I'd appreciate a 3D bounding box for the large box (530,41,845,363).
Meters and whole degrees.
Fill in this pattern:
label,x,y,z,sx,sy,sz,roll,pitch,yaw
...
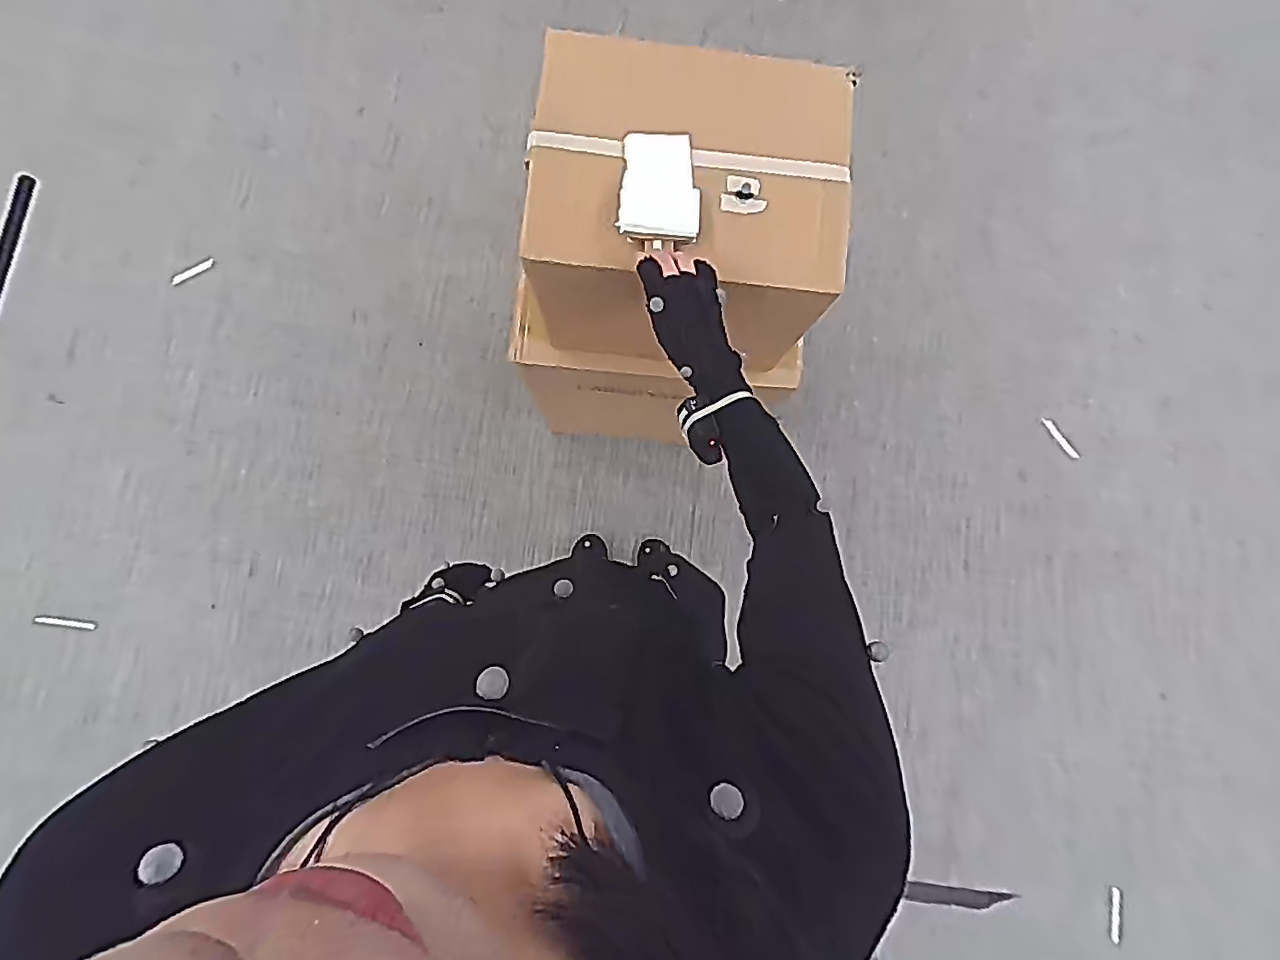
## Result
label,x,y,z,sx,sy,sz,roll,pitch,yaw
large box,0.058,-0.393,0.848,0.408,0.320,0.320,5,84,-3
